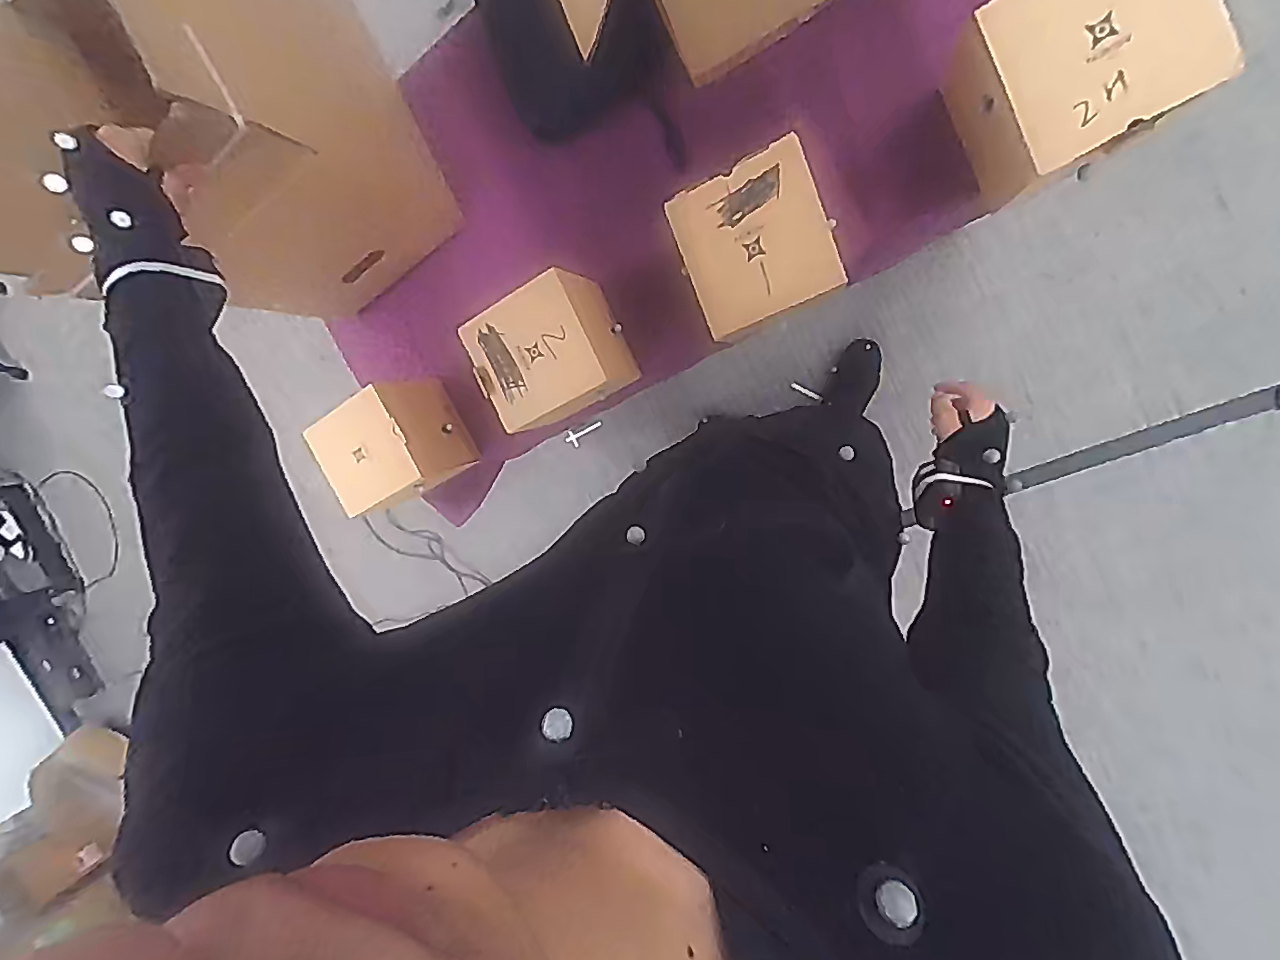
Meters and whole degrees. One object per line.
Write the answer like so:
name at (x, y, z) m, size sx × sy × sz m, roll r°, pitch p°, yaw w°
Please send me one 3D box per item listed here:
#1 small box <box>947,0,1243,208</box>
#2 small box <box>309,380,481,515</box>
small box at (0.455, -0.428, 0.576) m, size 0.168 × 0.176 × 0.179 m, roll -24°, pitch 95°, yaw 22°
small box at (-0.417, -0.061, 0.942) m, size 0.179 × 0.176 × 0.168 m, roll -26°, pitch 94°, yaw 20°
